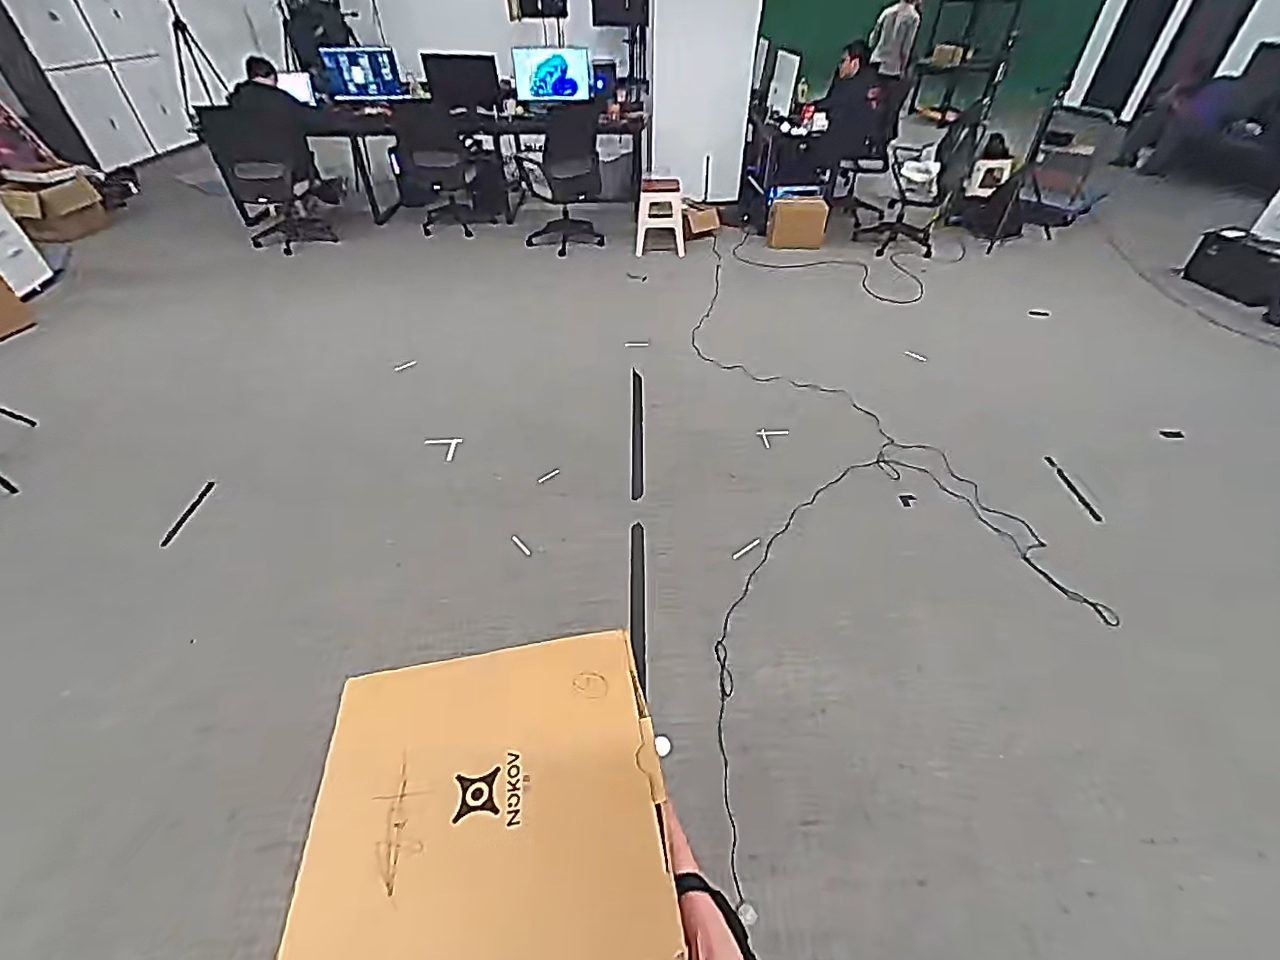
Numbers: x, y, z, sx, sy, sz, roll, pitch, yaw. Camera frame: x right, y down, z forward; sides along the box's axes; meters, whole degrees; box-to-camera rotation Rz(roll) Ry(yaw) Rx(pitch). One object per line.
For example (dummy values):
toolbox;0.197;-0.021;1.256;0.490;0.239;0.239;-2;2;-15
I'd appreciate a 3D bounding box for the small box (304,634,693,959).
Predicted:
small box;-0.071;0.227;0.344;0.179;0.176;0.168;-9;40;-5
